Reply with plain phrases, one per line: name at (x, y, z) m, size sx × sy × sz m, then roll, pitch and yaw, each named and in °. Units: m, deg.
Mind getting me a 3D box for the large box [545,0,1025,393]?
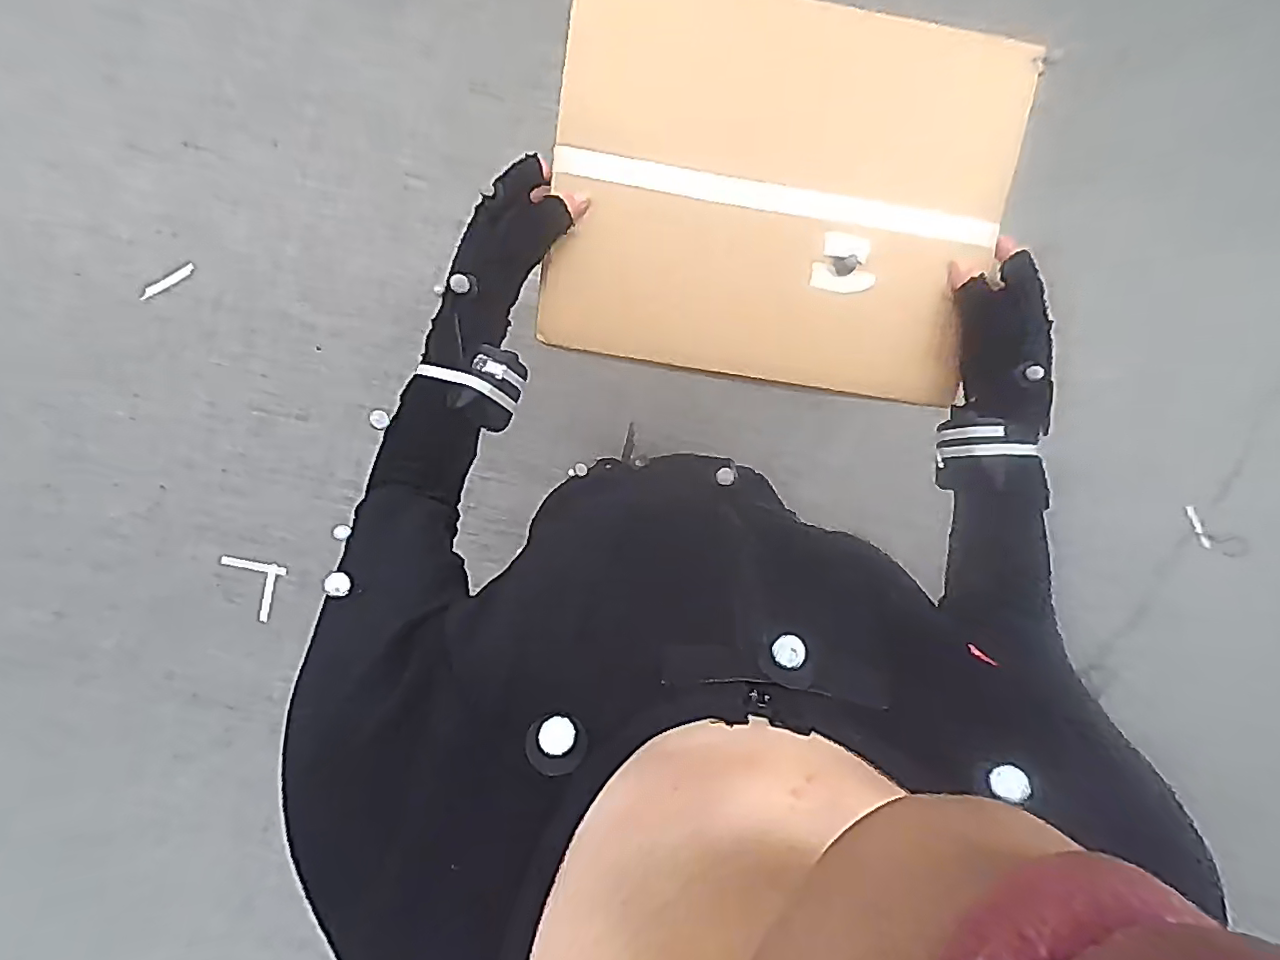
large box at (0.116, -0.284, 0.633) m, size 0.408 × 0.320 × 0.320 m, roll 8°, pitch 102°, yaw -5°
